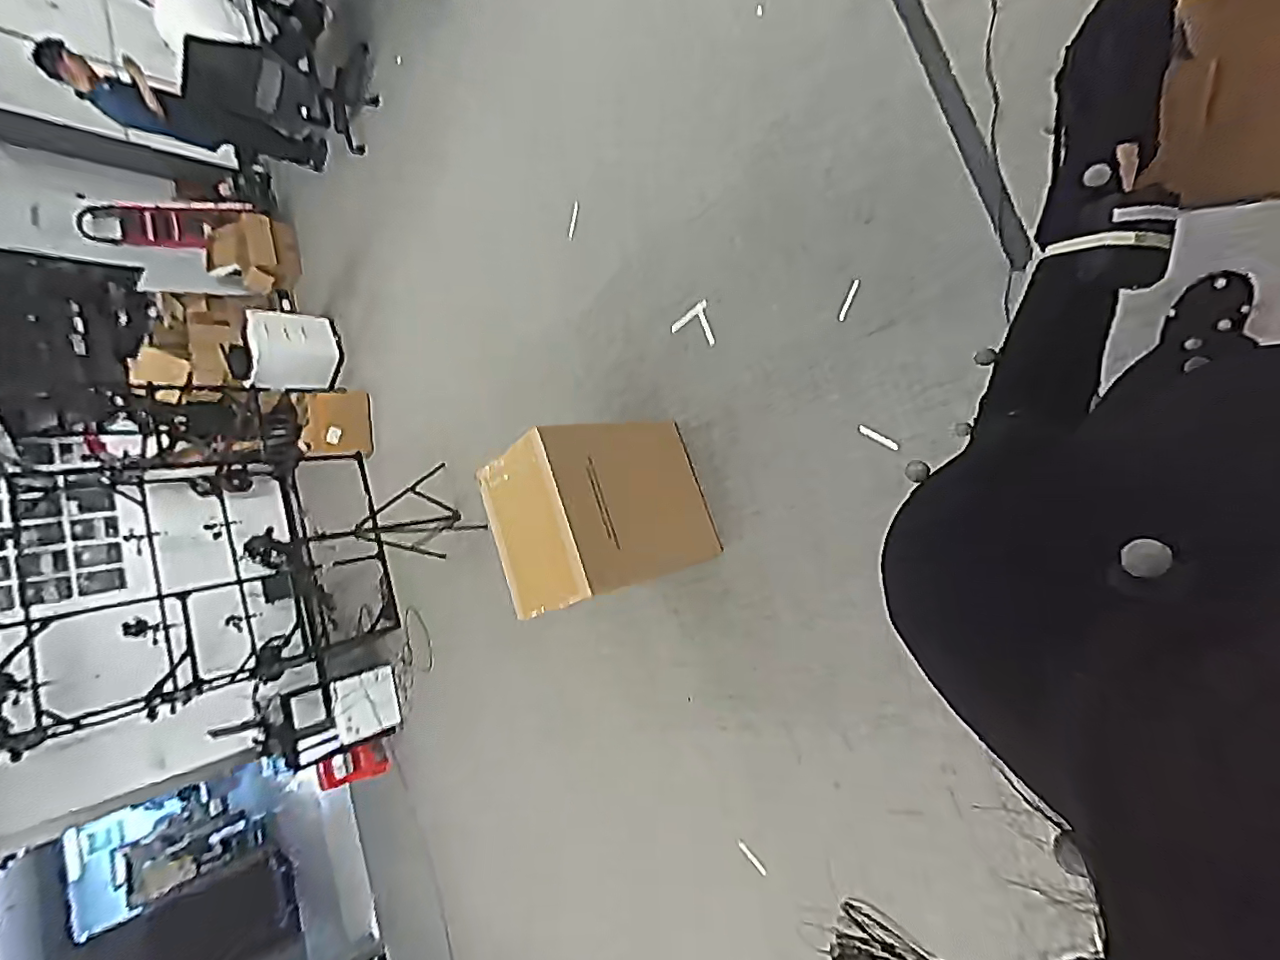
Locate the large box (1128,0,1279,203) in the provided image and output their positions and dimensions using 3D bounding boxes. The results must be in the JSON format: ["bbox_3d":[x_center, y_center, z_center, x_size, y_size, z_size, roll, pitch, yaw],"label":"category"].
[{"bbox_3d":[0.610,-0.396,0.349,0.408,0.320,0.320,10,116,45],"label":"large box"}]
